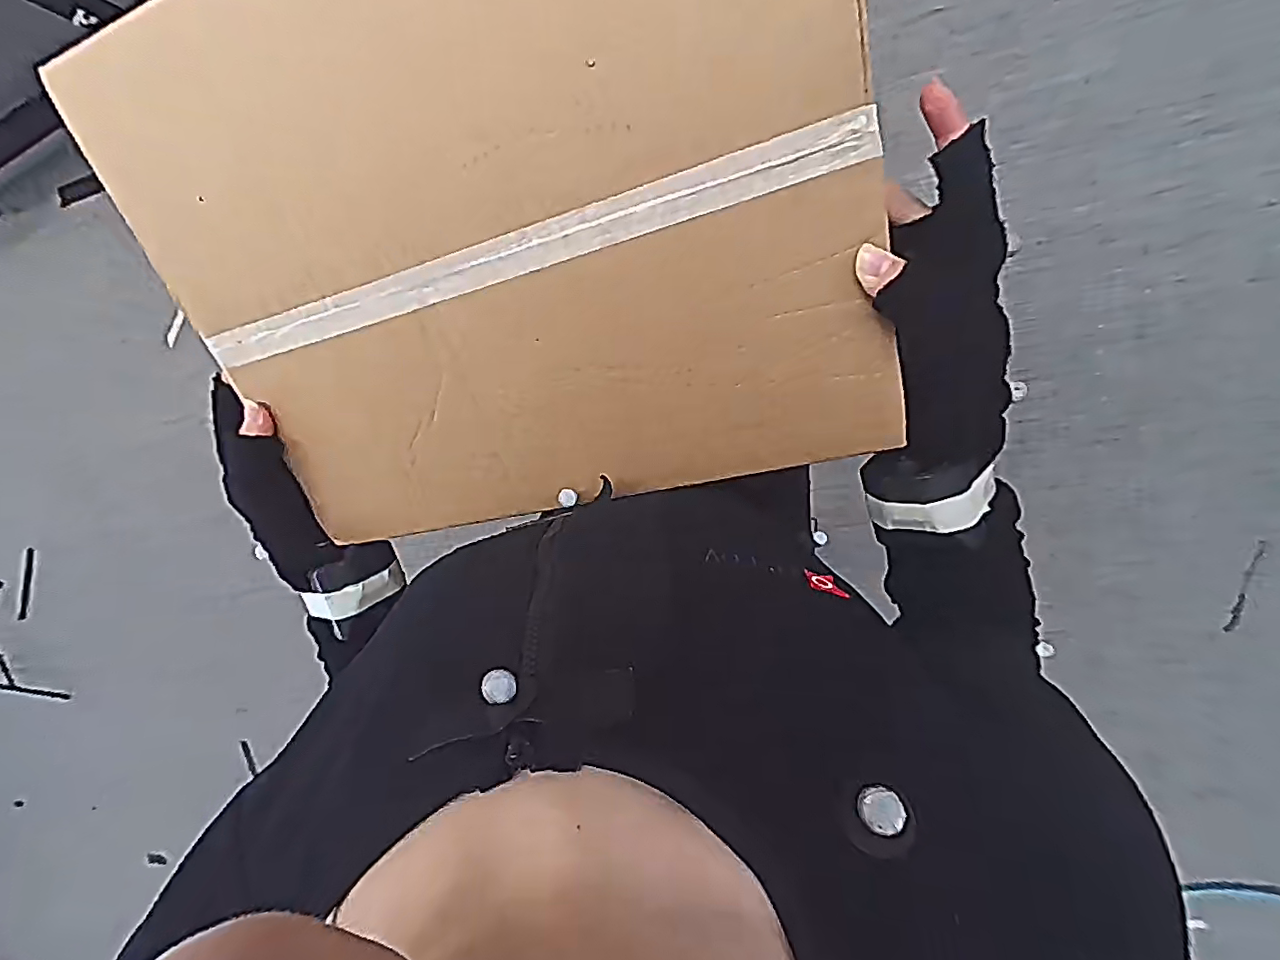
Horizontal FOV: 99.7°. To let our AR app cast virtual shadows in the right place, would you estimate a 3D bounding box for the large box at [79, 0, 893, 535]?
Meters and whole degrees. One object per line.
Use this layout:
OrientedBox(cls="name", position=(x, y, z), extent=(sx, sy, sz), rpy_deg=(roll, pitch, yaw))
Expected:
OrientedBox(cls="large box", position=(-0.057, -0.195, 0.432), extent=(0.408, 0.320, 0.320), rpy_deg=(-11, 115, 17))
